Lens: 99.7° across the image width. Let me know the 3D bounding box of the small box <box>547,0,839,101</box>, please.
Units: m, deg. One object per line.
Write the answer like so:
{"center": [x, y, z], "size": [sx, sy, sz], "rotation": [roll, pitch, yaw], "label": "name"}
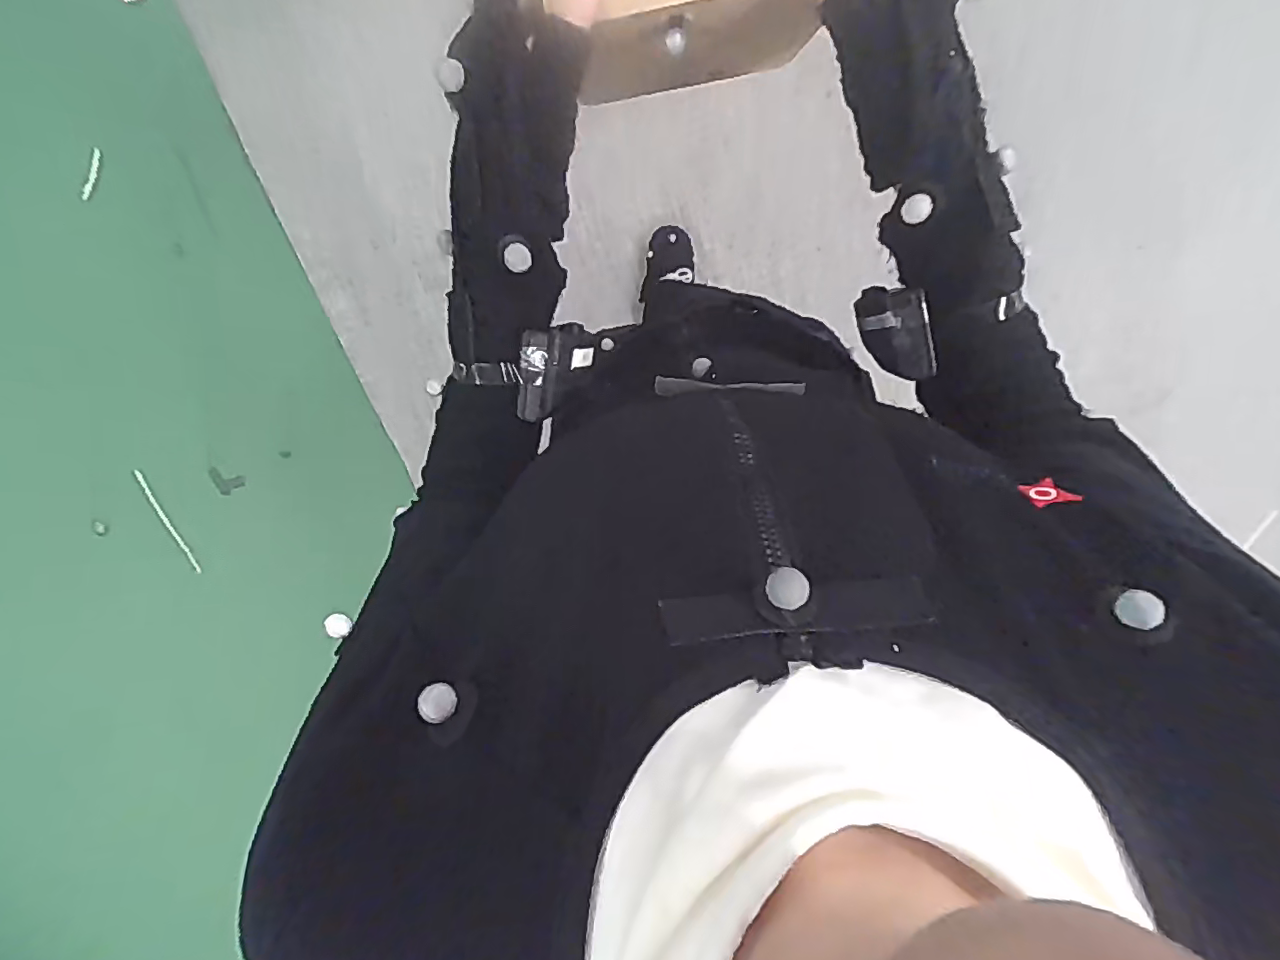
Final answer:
{"center": [0.022, -0.353, 0.311], "size": [0.168, 0.176, 0.179], "rotation": [-8, 113, 4], "label": "small box"}
